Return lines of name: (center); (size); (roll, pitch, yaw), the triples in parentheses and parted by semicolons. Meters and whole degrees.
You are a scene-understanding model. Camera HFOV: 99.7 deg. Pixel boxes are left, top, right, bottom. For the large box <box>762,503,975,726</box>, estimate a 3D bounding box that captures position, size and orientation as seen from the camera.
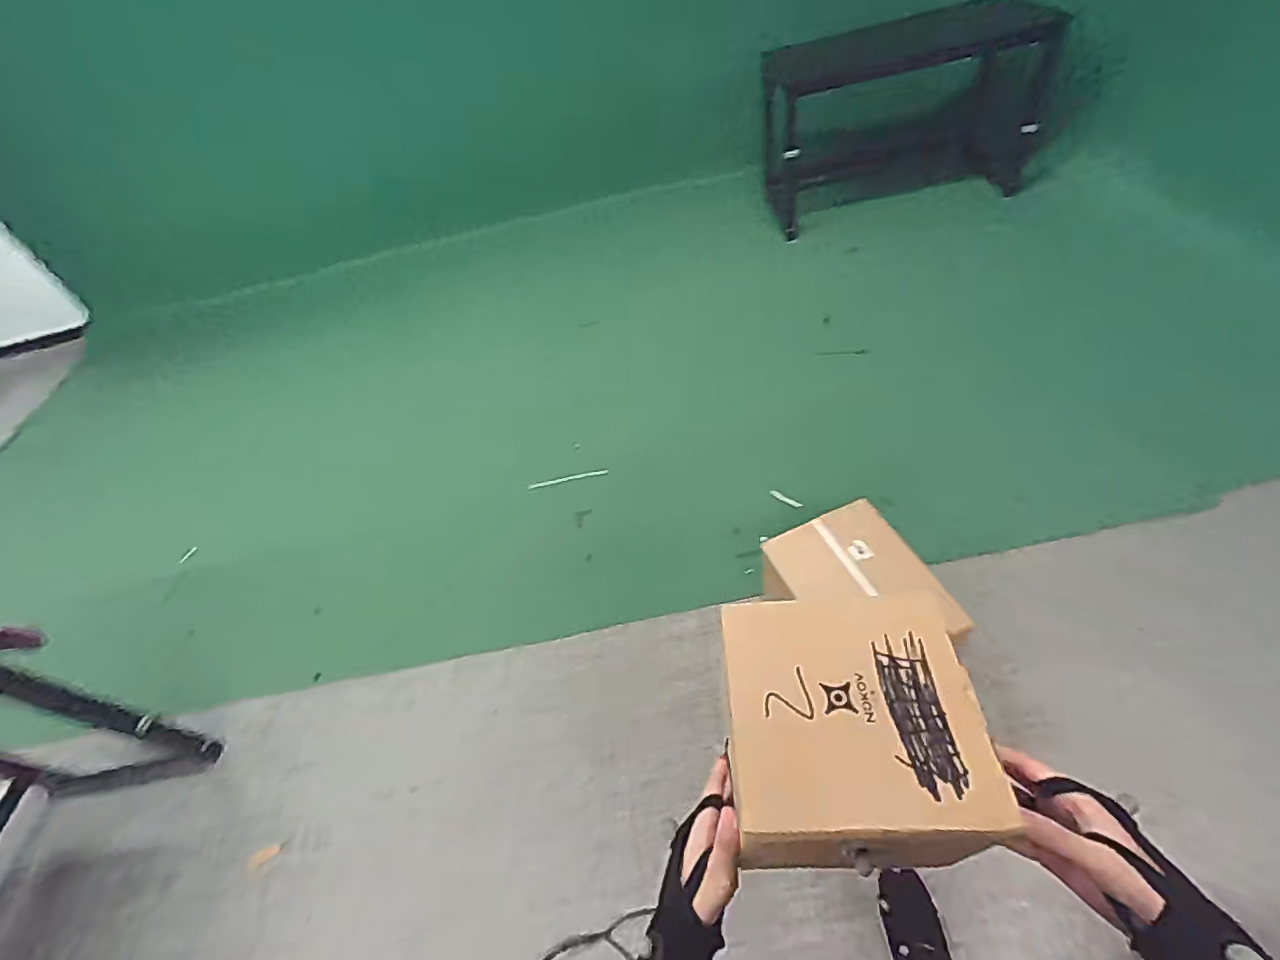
large box: (0.555, 0.342, 1.398); (0.320, 0.320, 0.408); (-21, 47, -6)
